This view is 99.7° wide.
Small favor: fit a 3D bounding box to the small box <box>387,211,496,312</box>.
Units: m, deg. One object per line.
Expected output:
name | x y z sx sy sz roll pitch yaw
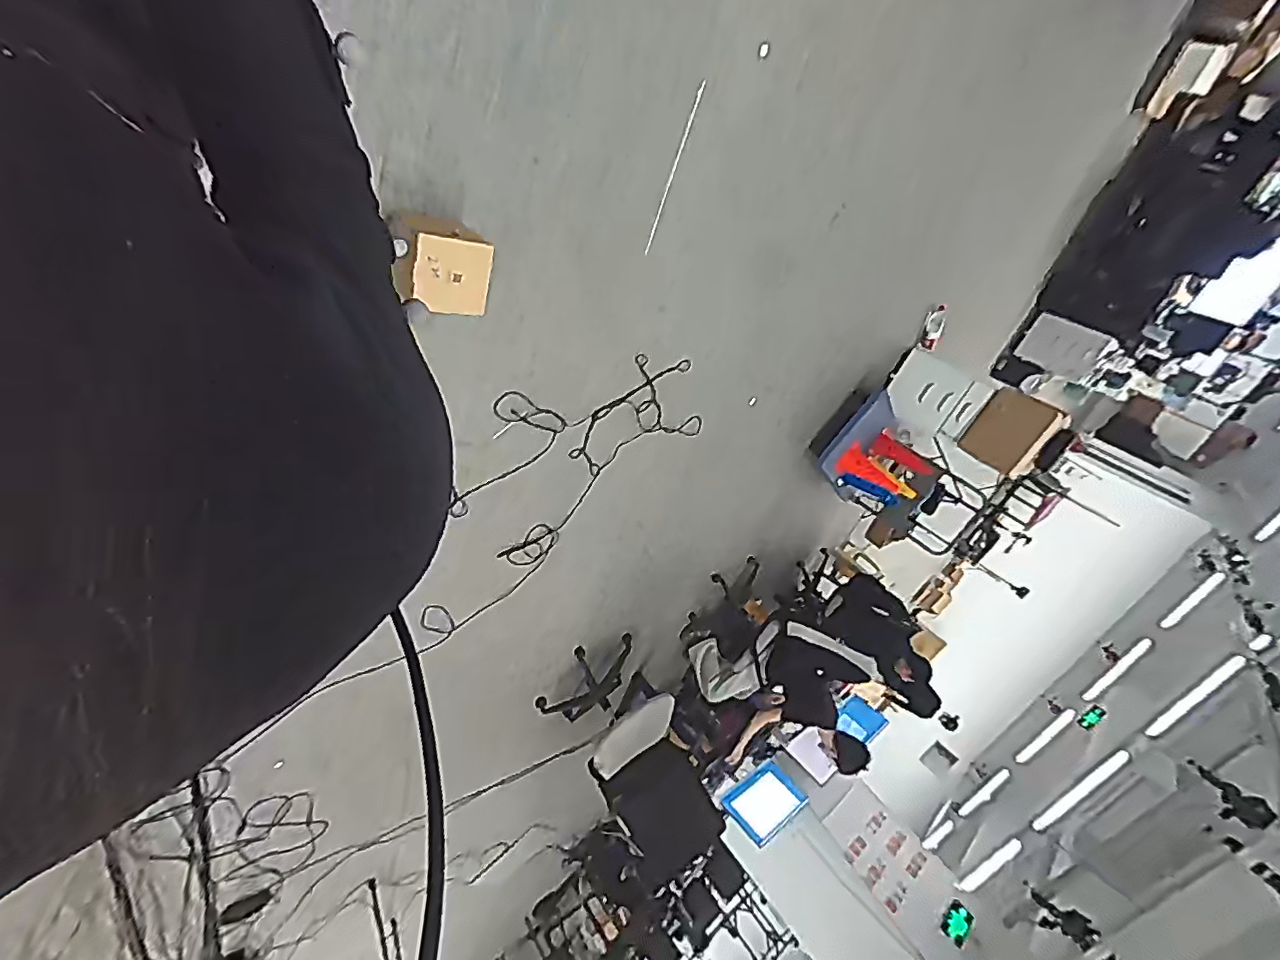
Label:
small box | -0.462 -0.504 1.251 0.179 0.176 0.168 -10 130 -41
